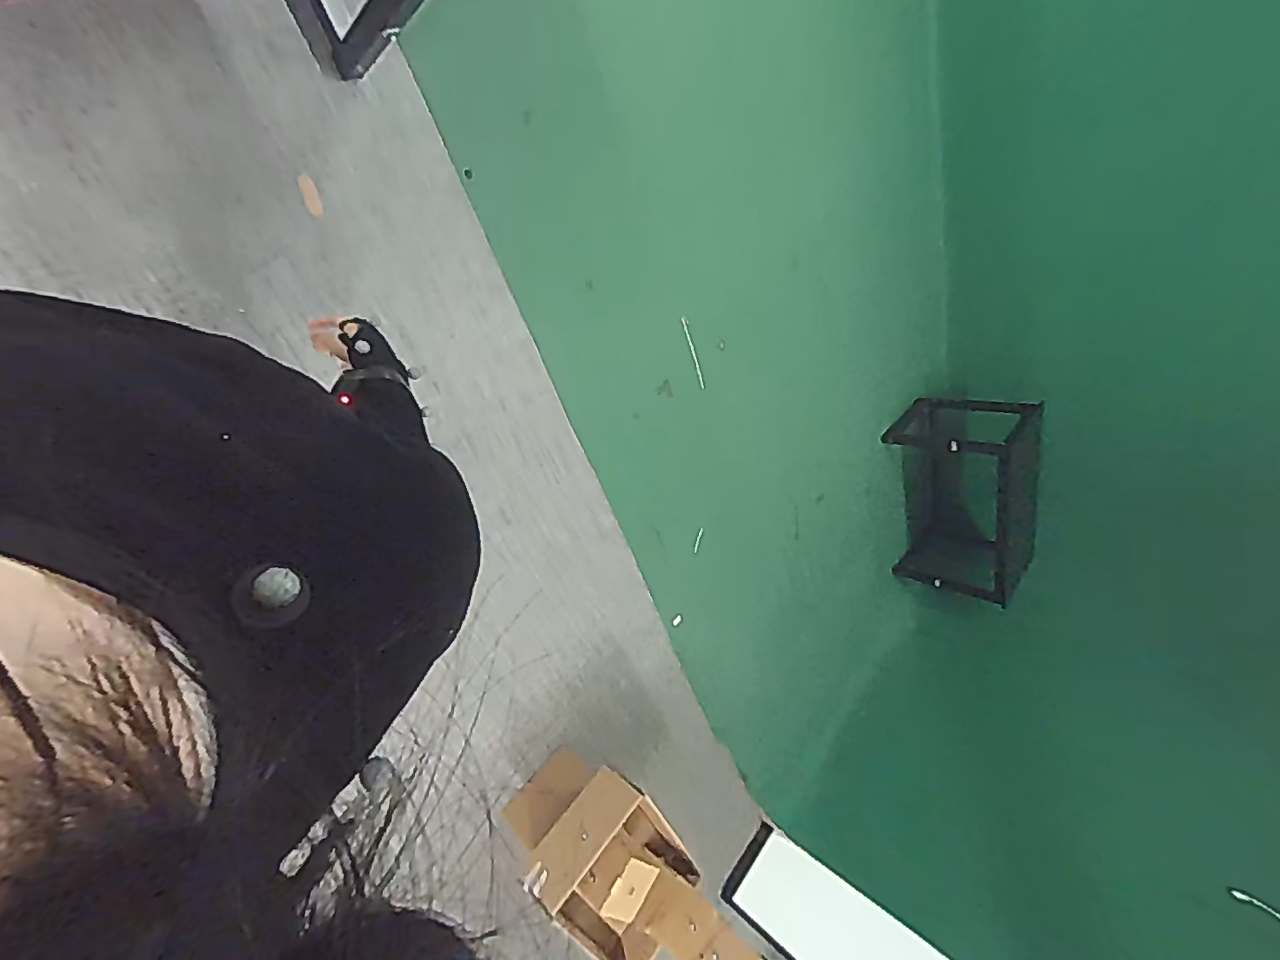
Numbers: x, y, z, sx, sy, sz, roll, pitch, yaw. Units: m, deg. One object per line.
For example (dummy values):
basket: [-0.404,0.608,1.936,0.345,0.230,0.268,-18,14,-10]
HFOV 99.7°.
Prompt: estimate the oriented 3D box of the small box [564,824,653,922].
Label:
small box: [-0.100,1.199,1.659,0.168,0.176,0.179,-53,130,-20]

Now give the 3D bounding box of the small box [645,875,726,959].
small box: [0.136,1.405,1.699,0.179,0.176,0.168,-47,127,-27]

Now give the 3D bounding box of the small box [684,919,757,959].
small box: [0.248,1.443,1.583,0.168,0.176,0.179,-45,126,-28]
